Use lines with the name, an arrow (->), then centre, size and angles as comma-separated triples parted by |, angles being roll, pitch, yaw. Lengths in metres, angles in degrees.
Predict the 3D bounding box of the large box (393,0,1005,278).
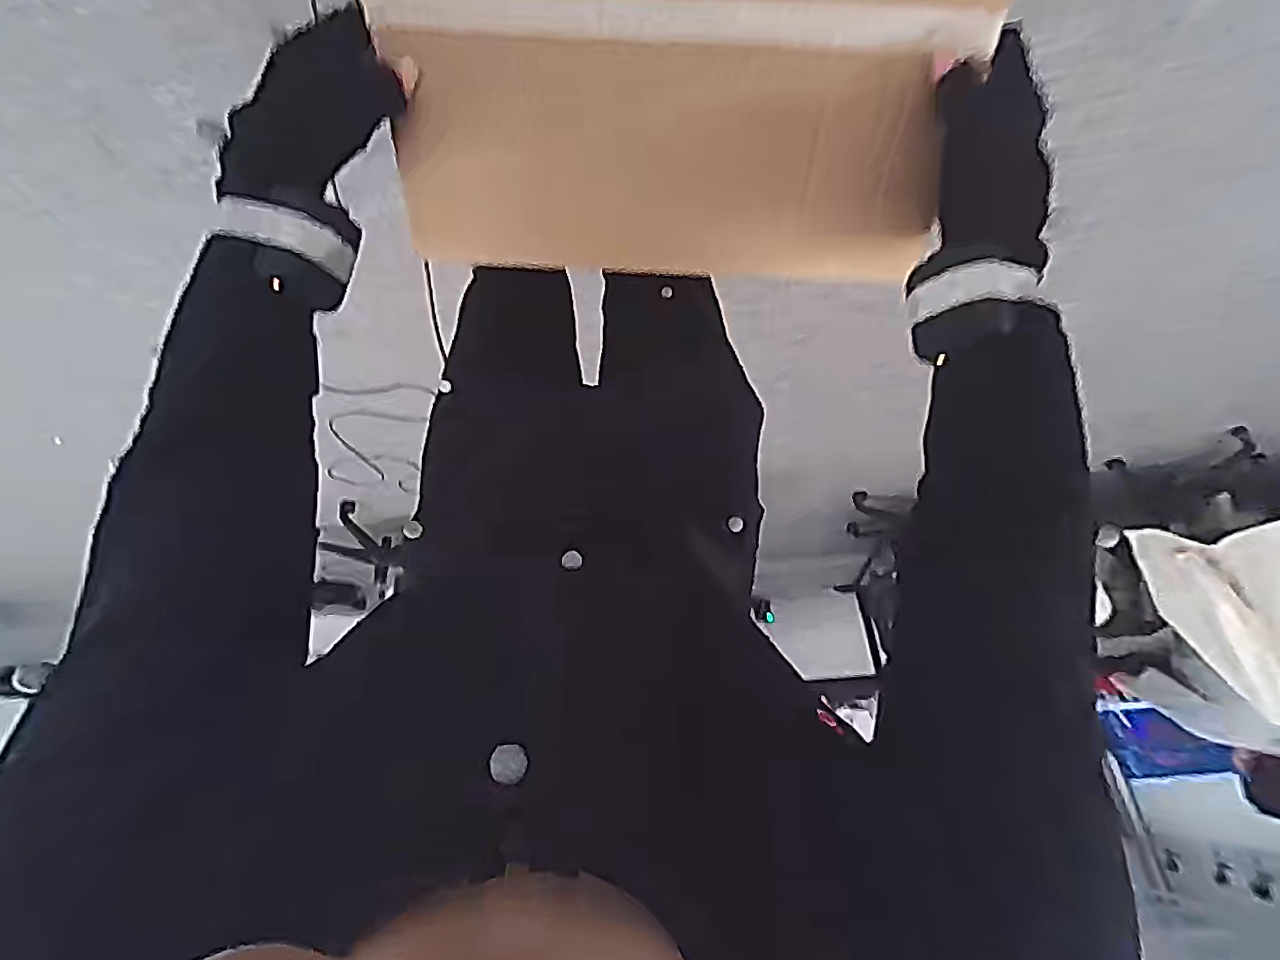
large box -> 0.035, -0.386, 0.478 | 0.408, 0.320, 0.320 | 2, 129, -1
